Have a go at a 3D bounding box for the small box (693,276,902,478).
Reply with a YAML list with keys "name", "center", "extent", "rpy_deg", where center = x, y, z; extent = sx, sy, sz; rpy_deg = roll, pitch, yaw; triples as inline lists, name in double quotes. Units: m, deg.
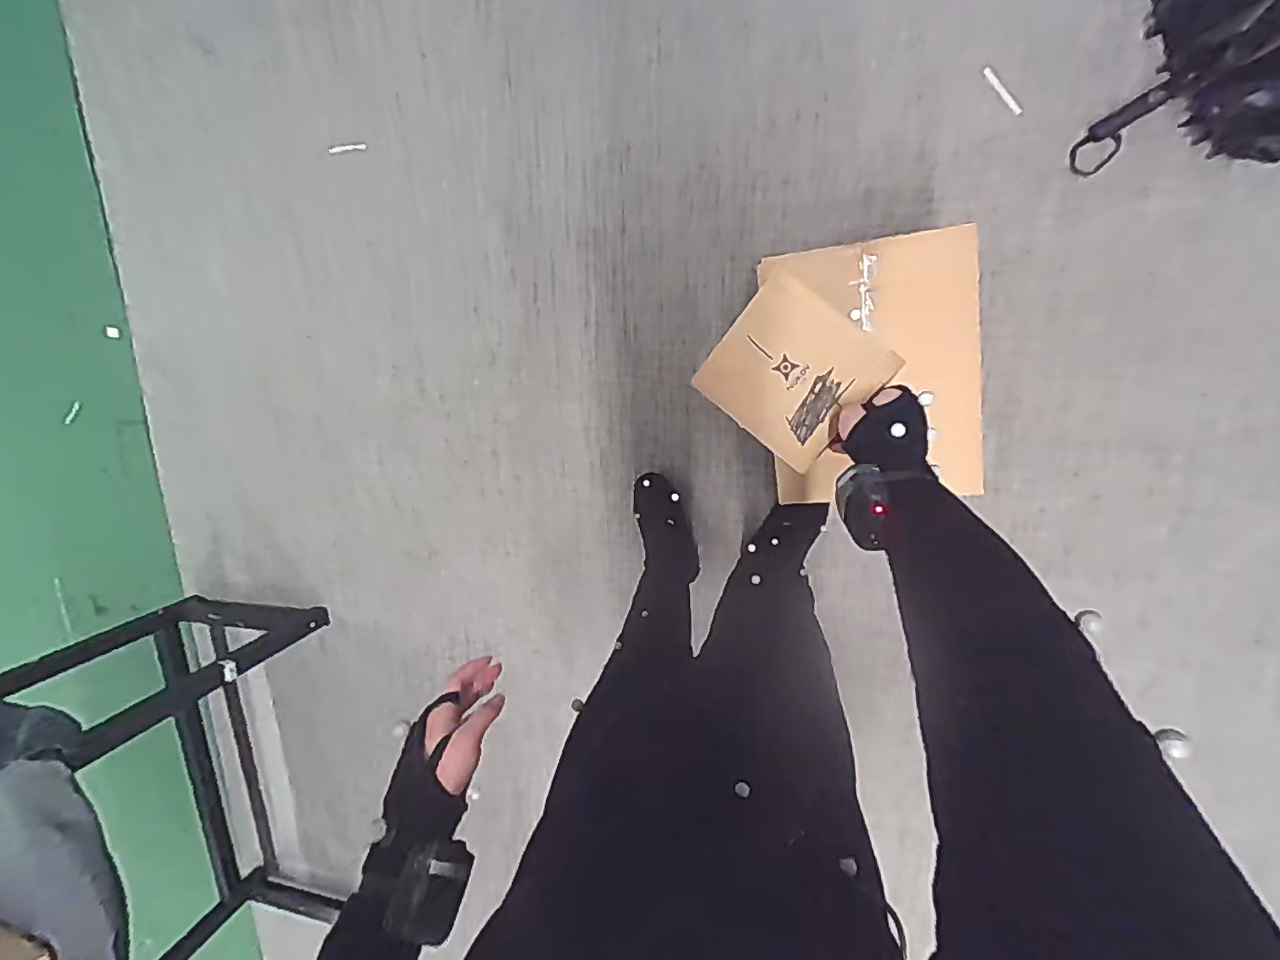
- name: "small box"
  center: [0.200, -0.131, 0.690]
  extent: [0.179, 0.176, 0.168]
  rpy_deg: [41, 112, 9]
